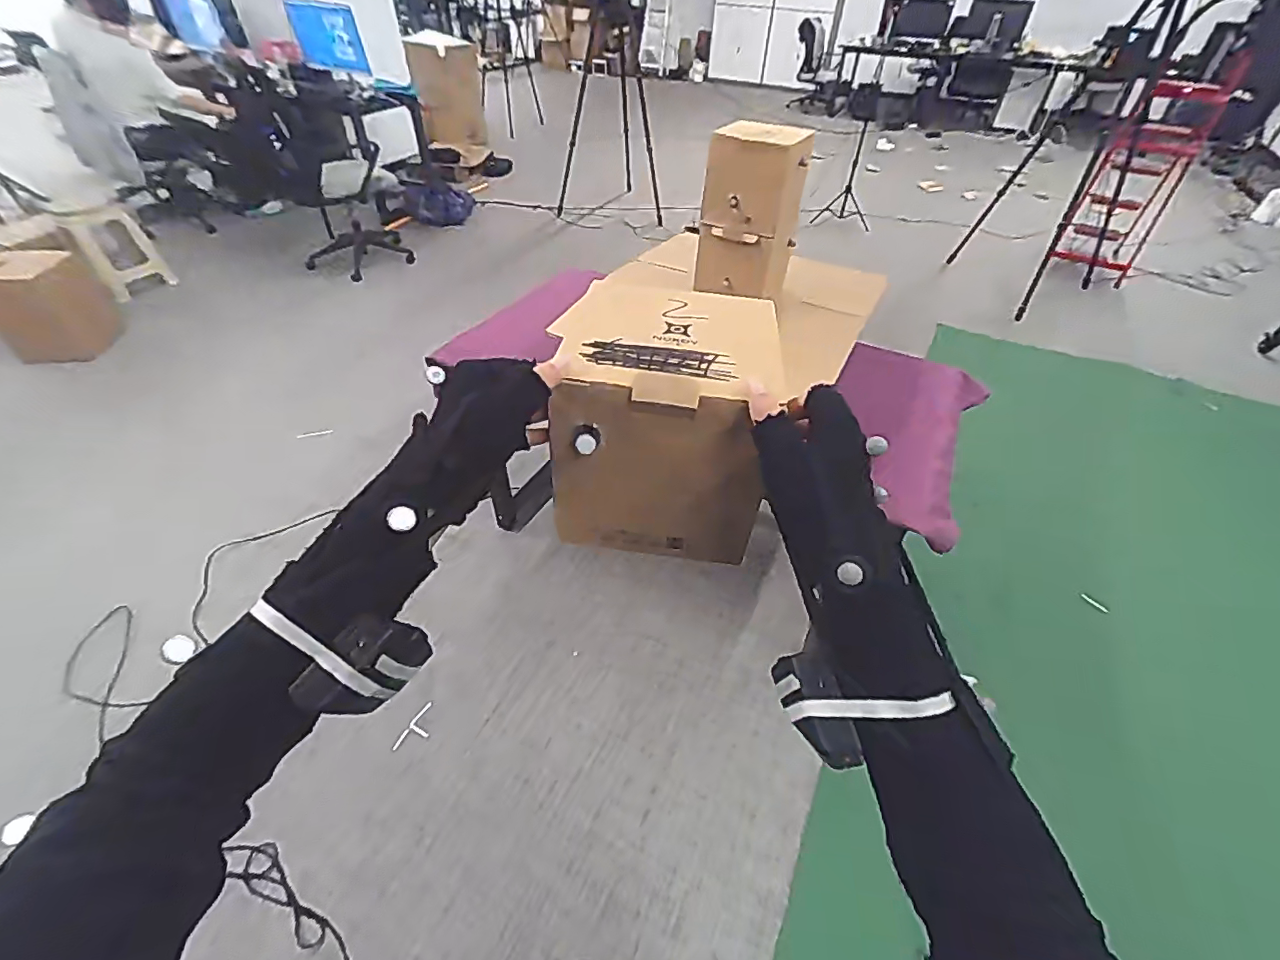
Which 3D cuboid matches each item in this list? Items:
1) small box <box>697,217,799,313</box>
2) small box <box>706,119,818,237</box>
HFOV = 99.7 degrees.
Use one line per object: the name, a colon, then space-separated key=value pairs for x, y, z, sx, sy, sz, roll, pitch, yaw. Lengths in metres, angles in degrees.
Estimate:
small box: x=0.240 y=-0.507 z=1.232 sx=0.168 sy=0.176 sz=0.179 roll=23 pitch=46 yaw=20
small box: x=0.248 y=-0.627 z=1.122 sx=0.168 sy=0.176 sz=0.179 roll=22 pitch=46 yaw=18
